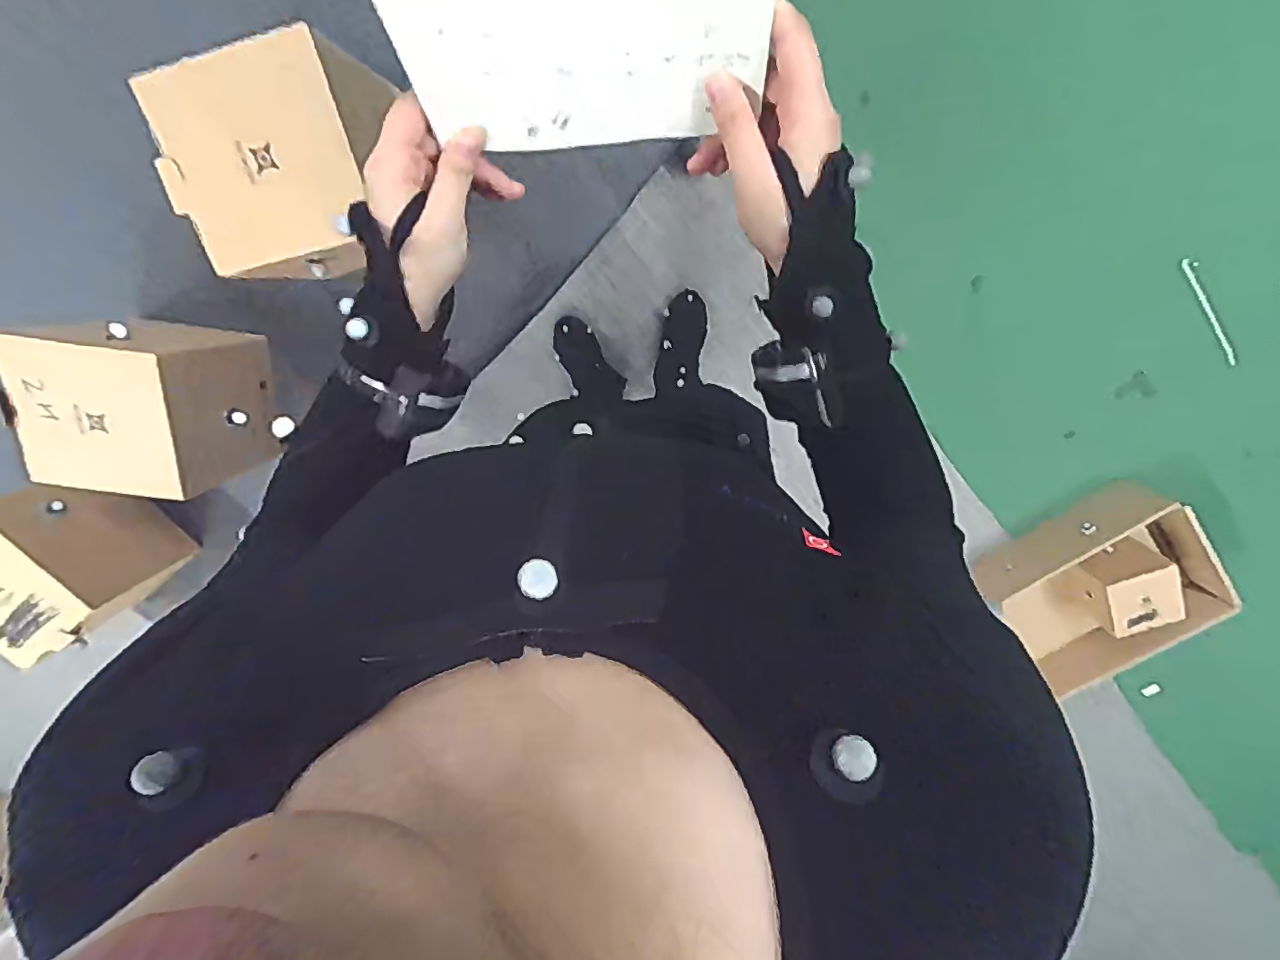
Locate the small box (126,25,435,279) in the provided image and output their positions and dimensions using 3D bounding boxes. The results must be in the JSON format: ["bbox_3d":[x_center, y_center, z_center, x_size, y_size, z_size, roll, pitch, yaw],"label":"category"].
[{"bbox_3d":[-0.332,-0.311,0.549,0.179,0.176,0.168,-11,110,8],"label":"small box"}]

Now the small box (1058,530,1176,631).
[{"bbox_3d":[1.269,0.265,1.447,0.168,0.176,0.179,-23,110,12],"label":"small box"}]

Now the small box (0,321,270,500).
[{"bbox_3d":[-0.579,-0.092,0.647,0.179,0.176,0.168,8,111,0],"label":"small box"}]
